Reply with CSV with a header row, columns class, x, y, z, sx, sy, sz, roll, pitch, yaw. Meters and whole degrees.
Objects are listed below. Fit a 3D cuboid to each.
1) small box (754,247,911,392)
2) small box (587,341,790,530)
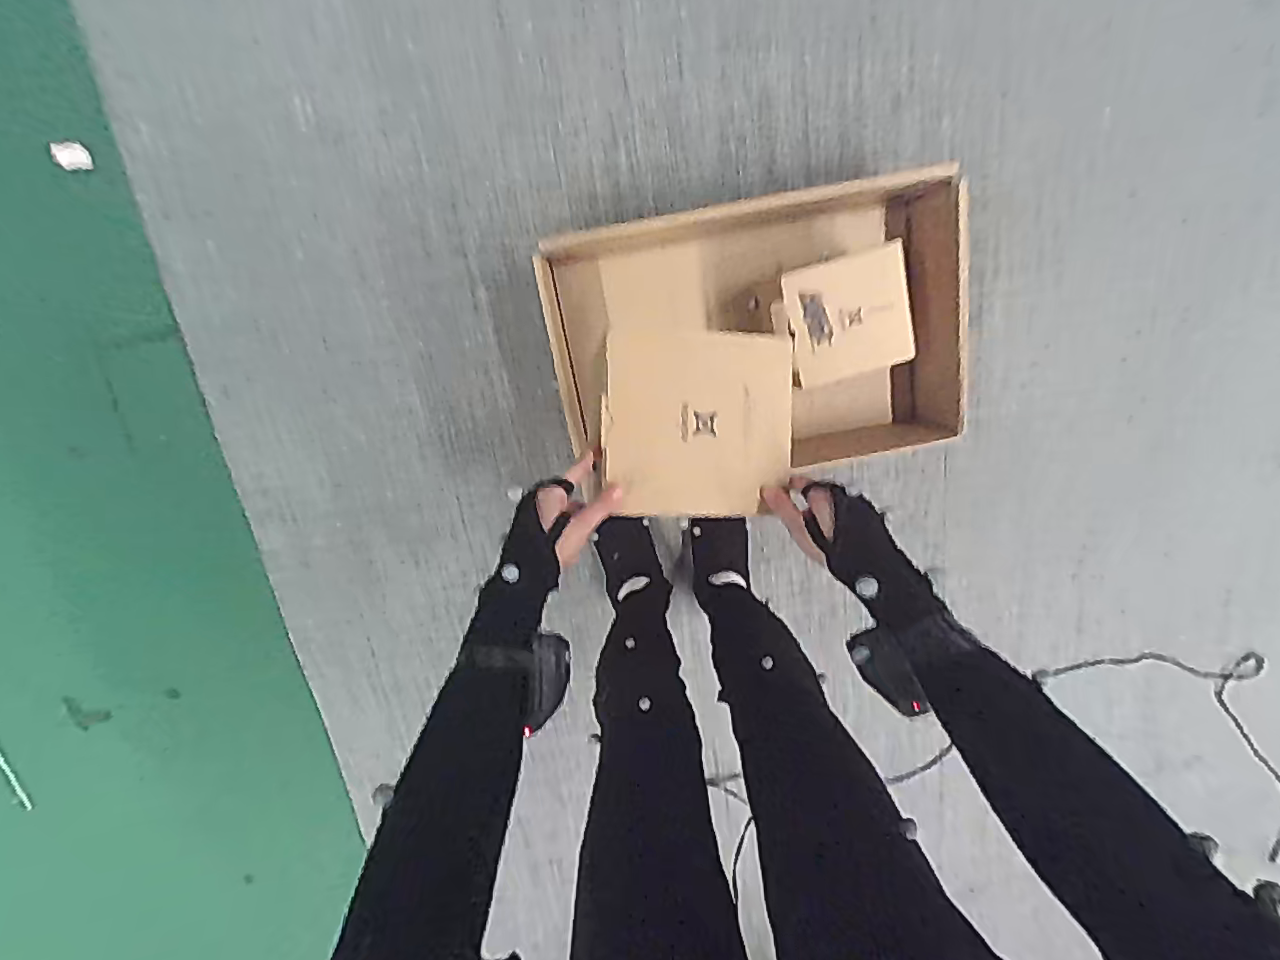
class,x,y,z,sx,sy,sz,roll,pitch,yaw
small box,0.289,-0.247,0.850,0.179,0.176,0.168,-17,106,2
small box,0.038,-0.036,0.558,0.179,0.176,0.168,1,90,-10
